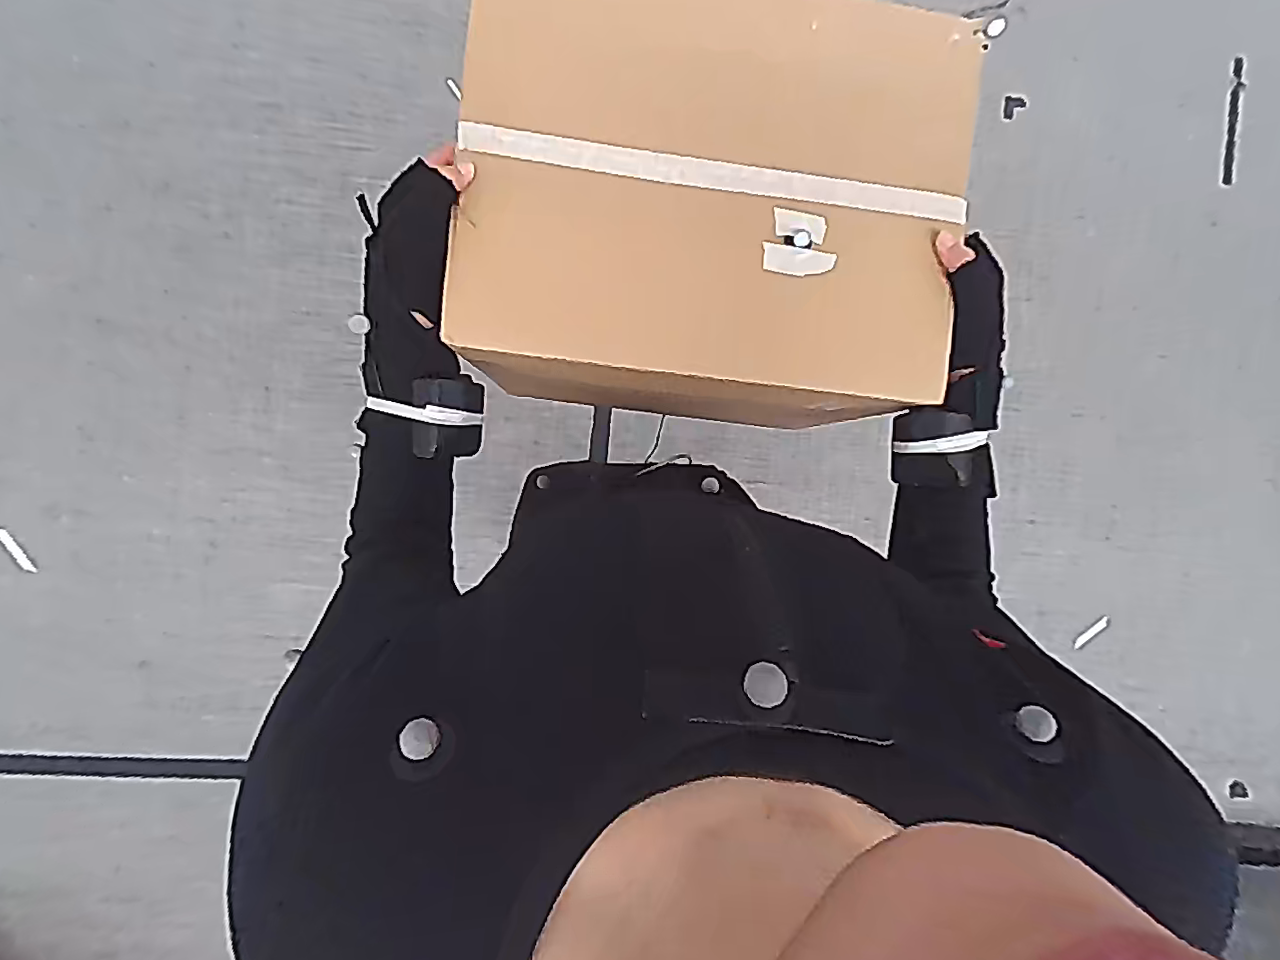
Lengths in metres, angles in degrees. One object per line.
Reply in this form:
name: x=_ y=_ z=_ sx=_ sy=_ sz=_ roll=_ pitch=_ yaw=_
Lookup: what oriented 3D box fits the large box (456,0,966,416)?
large box: x=0.049 y=-0.252 z=0.584 sx=0.408 sy=0.320 sz=0.320 roll=6 pitch=93 yaw=-6
